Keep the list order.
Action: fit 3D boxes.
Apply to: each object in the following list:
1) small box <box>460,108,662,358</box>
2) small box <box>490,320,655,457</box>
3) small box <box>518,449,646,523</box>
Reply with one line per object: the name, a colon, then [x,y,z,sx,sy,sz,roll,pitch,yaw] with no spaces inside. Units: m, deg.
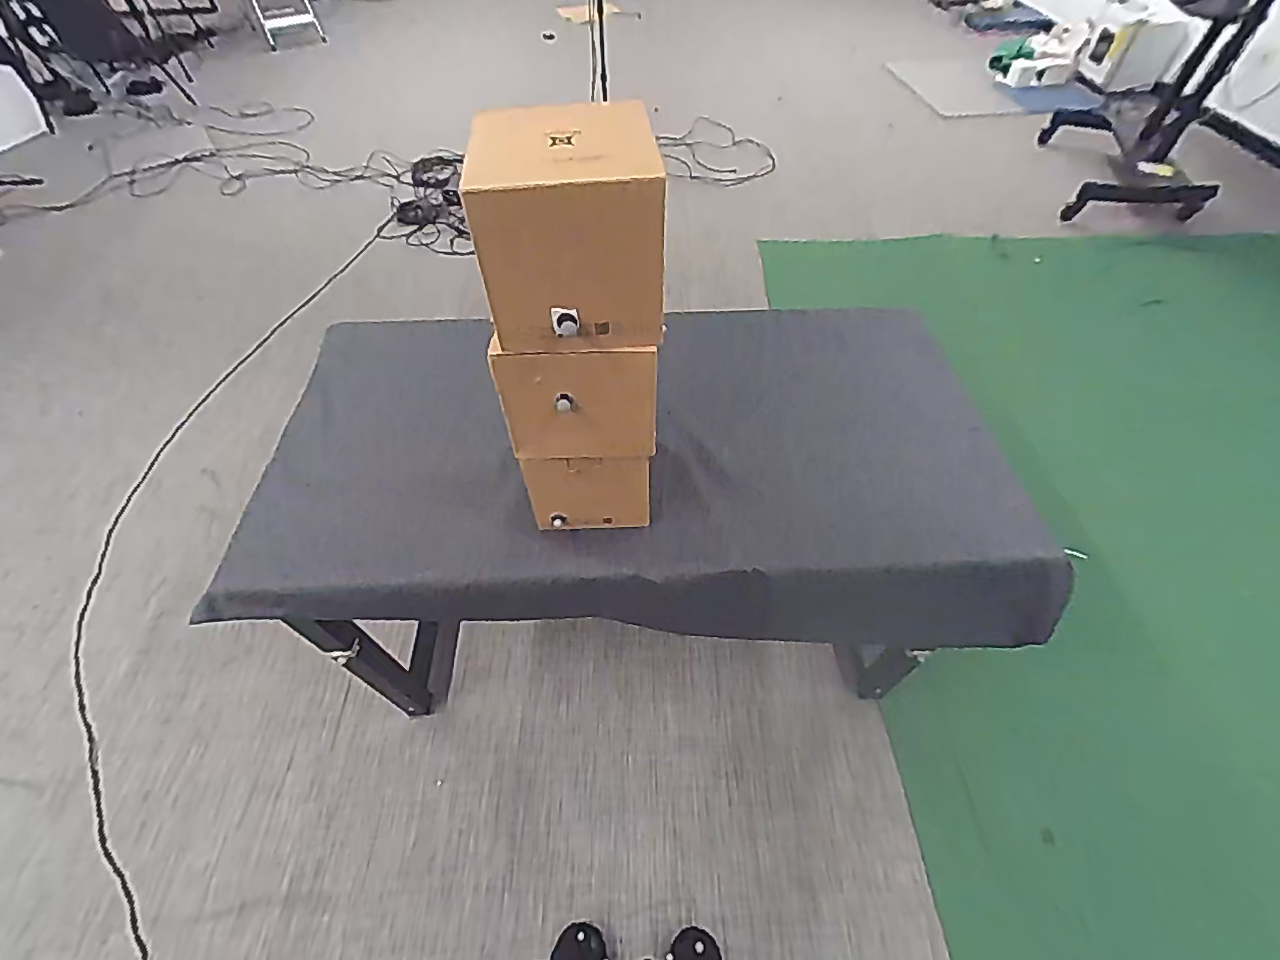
small box: [-0.072,-0.248,0.548,0.168,0.176,0.179,-7,53,-3]
small box: [-0.074,-0.142,0.675,0.179,0.176,0.168,-3,50,-3]
small box: [-0.076,-0.047,0.805,0.168,0.176,0.179,-2,51,-1]
